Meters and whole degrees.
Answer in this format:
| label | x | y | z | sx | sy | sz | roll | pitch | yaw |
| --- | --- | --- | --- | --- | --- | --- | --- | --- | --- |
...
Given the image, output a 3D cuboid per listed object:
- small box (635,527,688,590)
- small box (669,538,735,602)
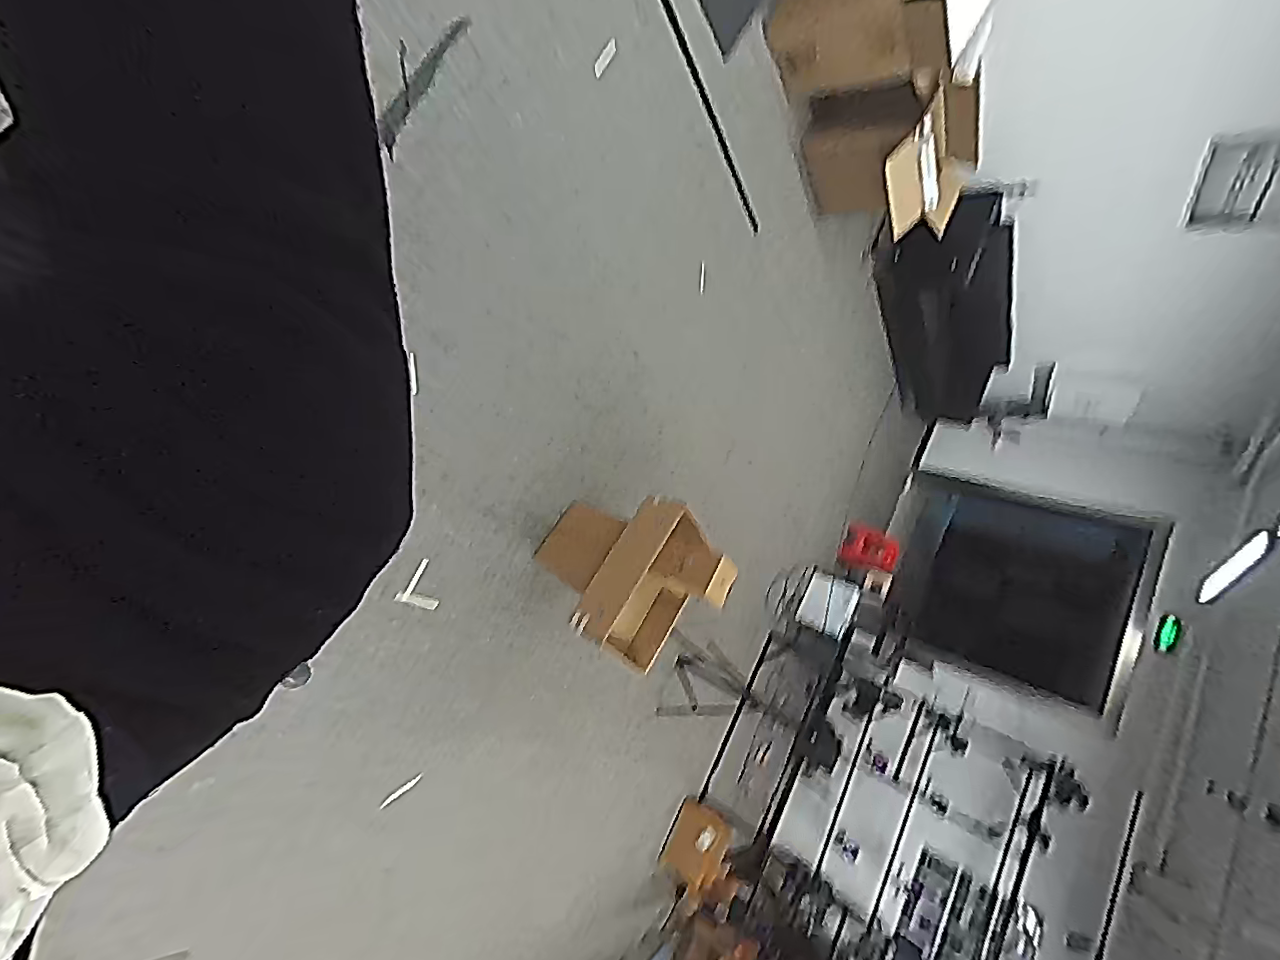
| label | x | y | z | sx | sy | sz | roll | pitch | yaw |
| --- | --- | --- | --- | --- | --- | --- | --- | --- | --- |
| small box | 0.109 | 0.312 | 2.190 | 0.179 | 0.176 | 0.168 | -59 | 141 | -16 |
| small box | 0.239 | 0.346 | 2.097 | 0.168 | 0.176 | 0.179 | -62 | 143 | -15 |
